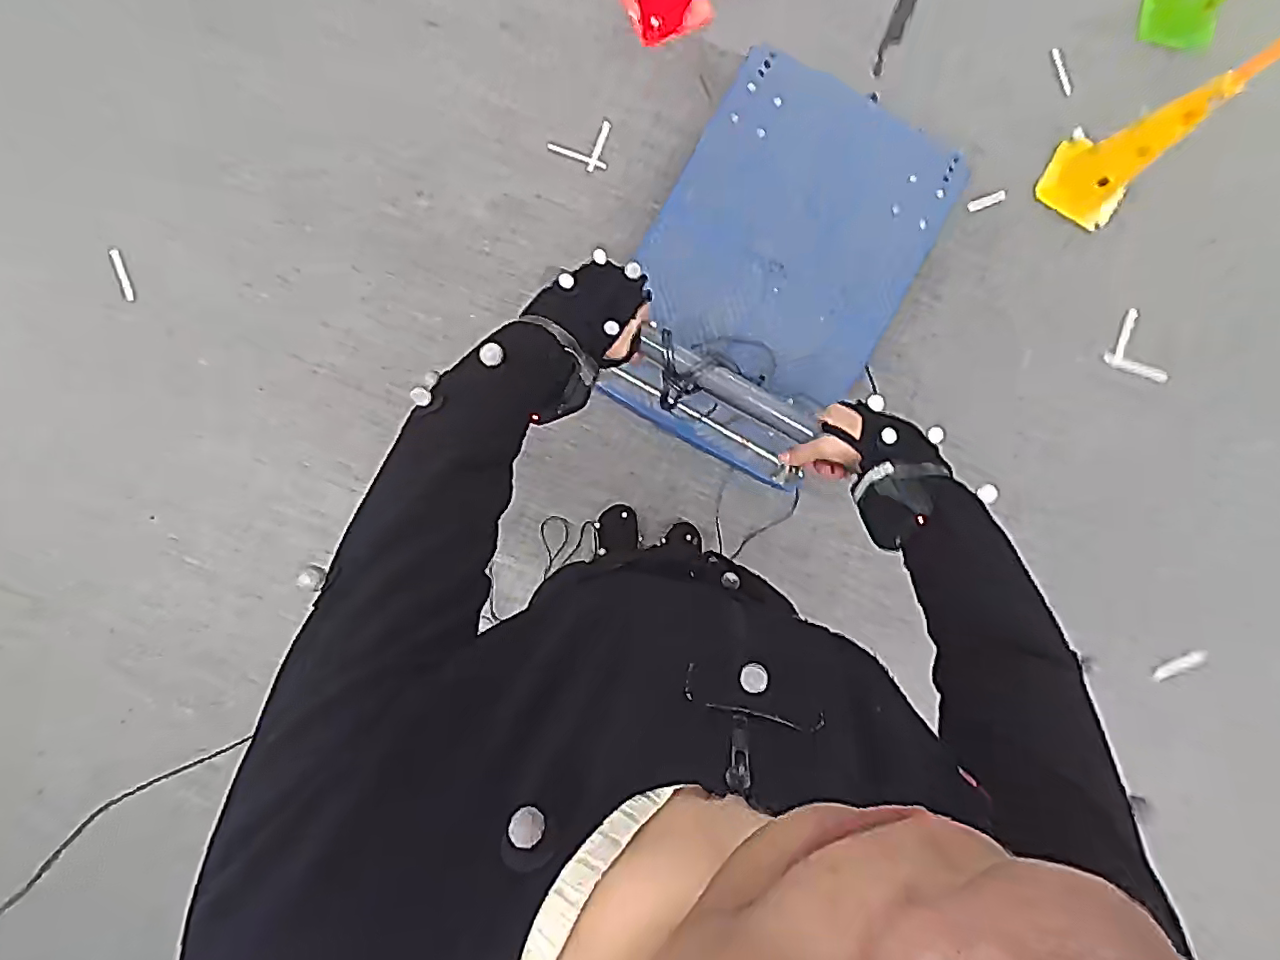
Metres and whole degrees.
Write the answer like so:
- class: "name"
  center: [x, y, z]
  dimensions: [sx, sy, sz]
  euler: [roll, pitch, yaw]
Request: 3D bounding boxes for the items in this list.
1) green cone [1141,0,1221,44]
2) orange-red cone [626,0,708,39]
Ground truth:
- class: "green cone"
  center: [1.408, -1.238, 1.228]
  dimensions: [0.200, 0.368, 0.202]
  euler: [7, 91, -1]
- class: "orange-red cone"
  center: [0.060, -1.239, 1.201]
  dimensions: [0.199, 0.360, 0.198]
  euler: [-24, 91, -2]
